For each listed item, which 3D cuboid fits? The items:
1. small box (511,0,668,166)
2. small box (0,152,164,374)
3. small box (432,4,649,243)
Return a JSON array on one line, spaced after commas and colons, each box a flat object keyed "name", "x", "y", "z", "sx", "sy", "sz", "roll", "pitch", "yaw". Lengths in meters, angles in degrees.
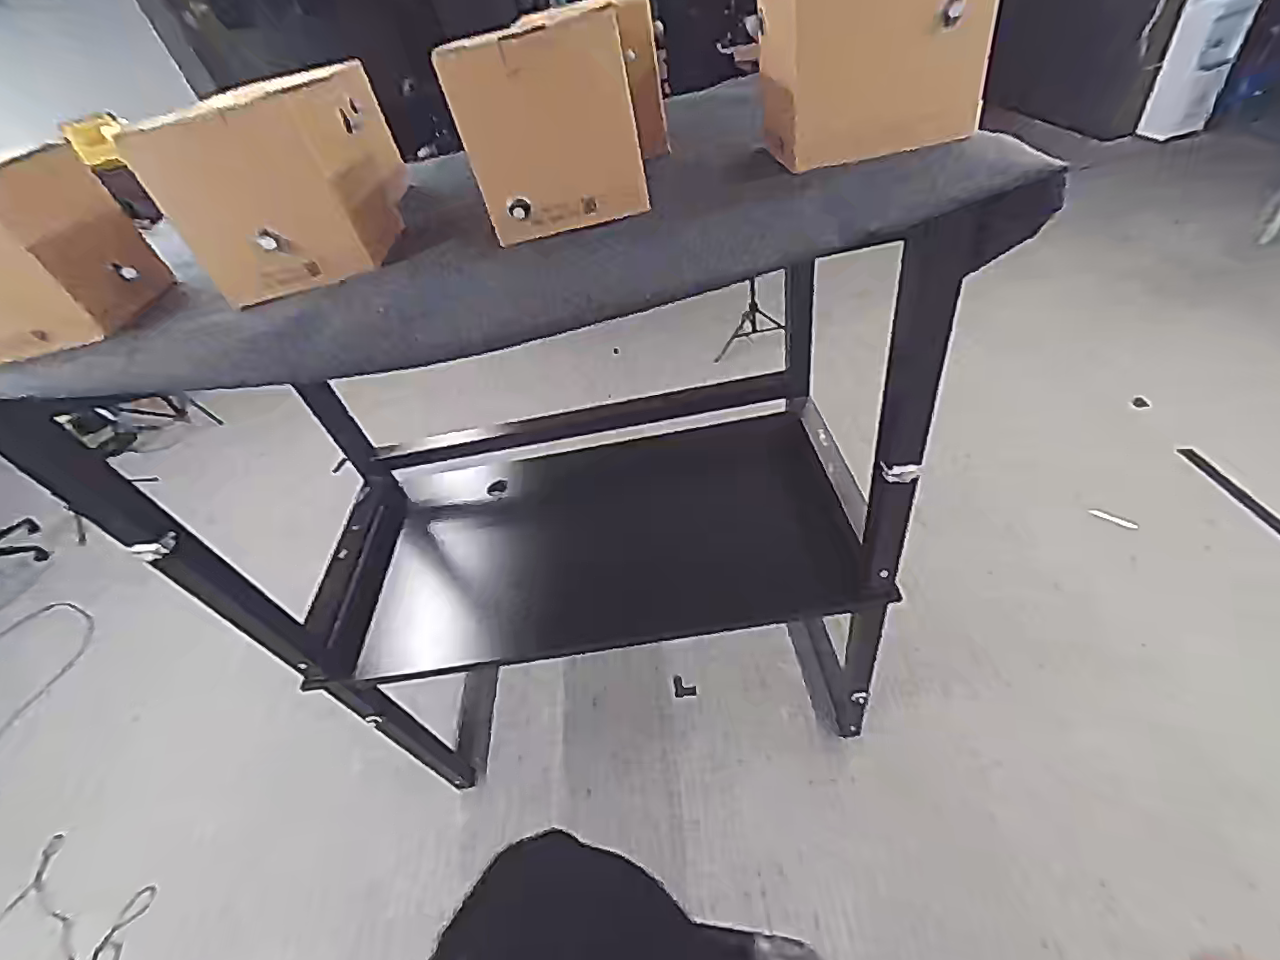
[{"name": "small box", "x": -0.060, "y": -0.530, "z": 0.732, "sx": 0.168, "sy": 0.176, "sz": 0.179, "roll": -10, "pitch": 44, "yaw": 5}, {"name": "small box", "x": -0.697, "y": -0.239, "z": 0.605, "sx": 0.168, "sy": 0.176, "sz": 0.179, "roll": -15, "pitch": 44, "yaw": -1}, {"name": "small box", "x": -0.090, "y": -0.369, "z": 0.571, "sx": 0.168, "sy": 0.176, "sz": 0.179, "roll": -12, "pitch": 41, "yaw": 4}]
